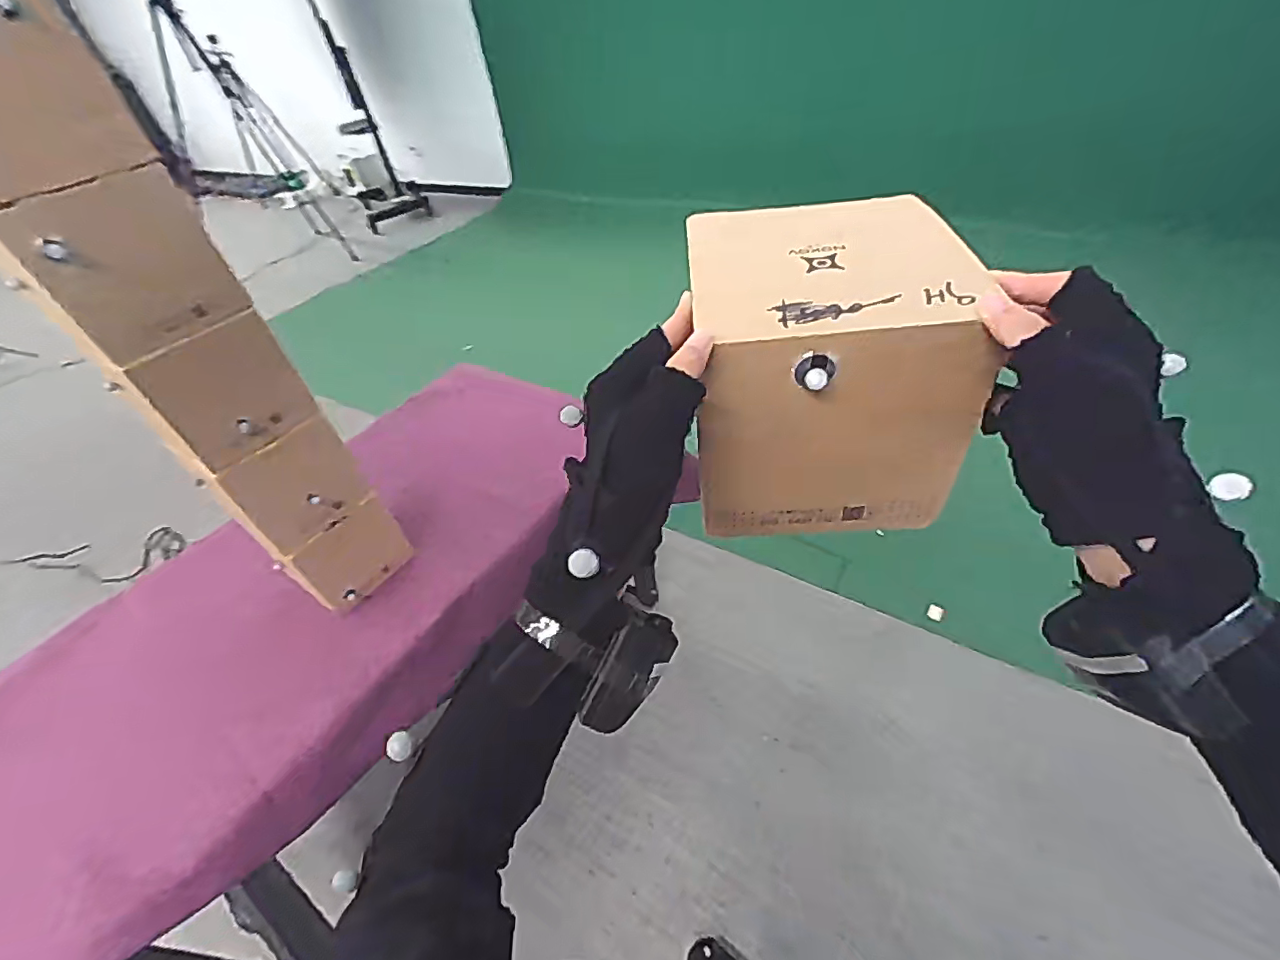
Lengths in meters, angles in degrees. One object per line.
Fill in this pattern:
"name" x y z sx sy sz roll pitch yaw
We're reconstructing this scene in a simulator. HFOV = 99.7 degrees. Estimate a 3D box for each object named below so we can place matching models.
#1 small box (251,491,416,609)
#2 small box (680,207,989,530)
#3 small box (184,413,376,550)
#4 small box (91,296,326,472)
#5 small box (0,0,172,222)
"small box" -0.543 0.105 0.975 0.179 0.176 0.168 21 51 30
"small box" 0.116 -0.082 0.406 0.168 0.176 0.179 -4 44 7
"small box" -0.570 -0.016 0.868 0.179 0.176 0.168 22 51 29
"small box" -0.593 -0.136 0.761 0.179 0.176 0.168 21 51 29
"small box" -0.642 -0.374 0.542 0.168 0.176 0.179 20 50 30
